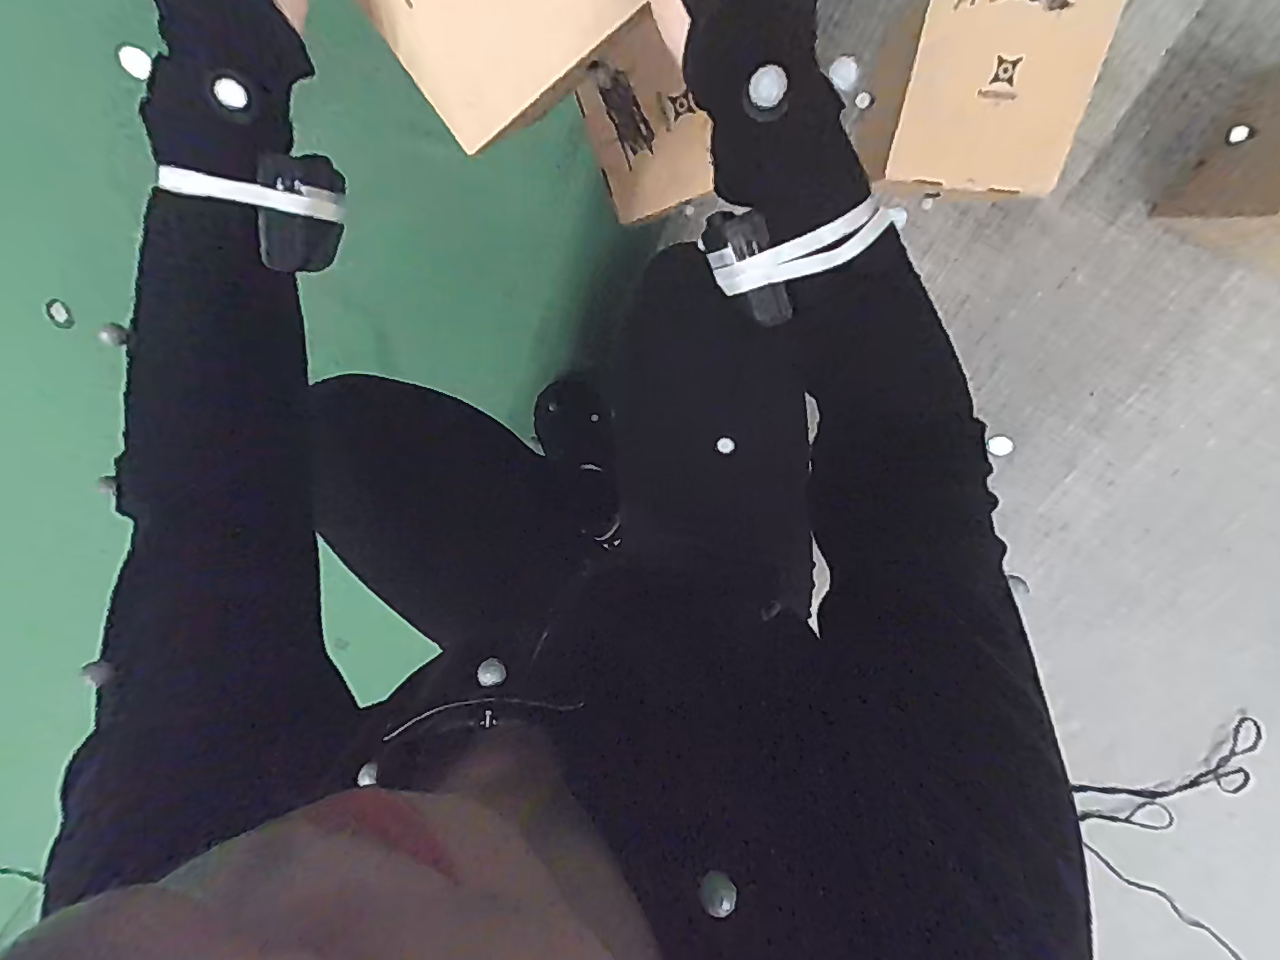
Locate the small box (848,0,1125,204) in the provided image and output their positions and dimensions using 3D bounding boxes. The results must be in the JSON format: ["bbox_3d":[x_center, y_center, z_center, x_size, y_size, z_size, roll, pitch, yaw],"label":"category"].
[{"bbox_3d":[0.336,-0.401,0.573,0.168,0.176,0.179,9,117,2],"label":"small box"}]

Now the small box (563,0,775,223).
[{"bbox_3d":[0.038,-0.400,0.605,0.179,0.176,0.168,-16,112,12],"label":"small box"}]

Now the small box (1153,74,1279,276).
[{"bbox_3d":[0.727,-0.321,0.568,0.179,0.176,0.168,23,115,-6],"label":"small box"}]
